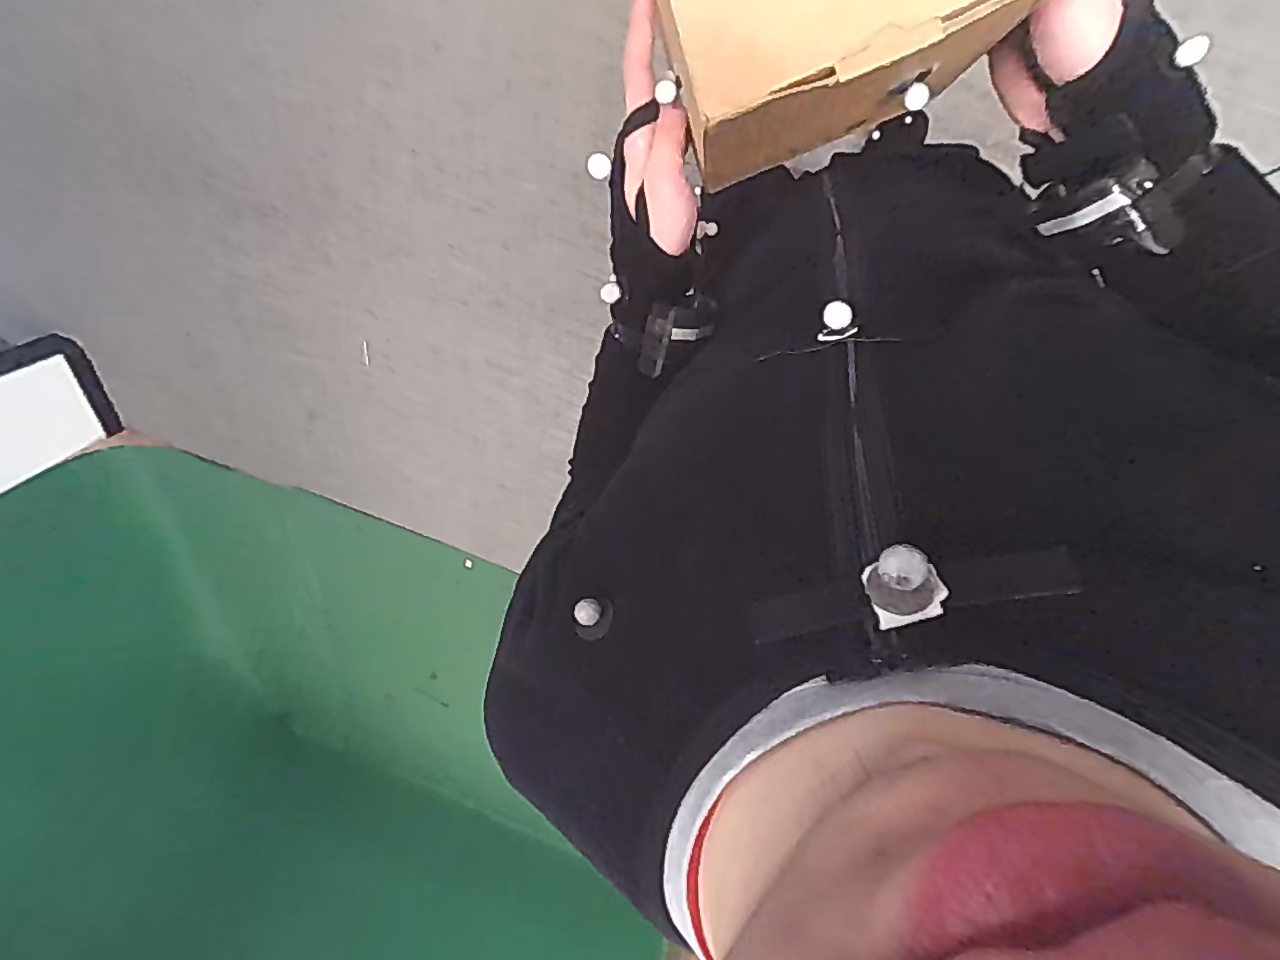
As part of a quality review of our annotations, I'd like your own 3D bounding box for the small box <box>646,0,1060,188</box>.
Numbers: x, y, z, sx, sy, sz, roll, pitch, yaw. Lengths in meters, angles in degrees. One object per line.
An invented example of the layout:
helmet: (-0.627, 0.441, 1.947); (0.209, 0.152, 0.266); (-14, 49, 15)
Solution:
small box: (0.089, -0.283, 0.295); (0.168, 0.176, 0.179); (-17, 104, 11)
